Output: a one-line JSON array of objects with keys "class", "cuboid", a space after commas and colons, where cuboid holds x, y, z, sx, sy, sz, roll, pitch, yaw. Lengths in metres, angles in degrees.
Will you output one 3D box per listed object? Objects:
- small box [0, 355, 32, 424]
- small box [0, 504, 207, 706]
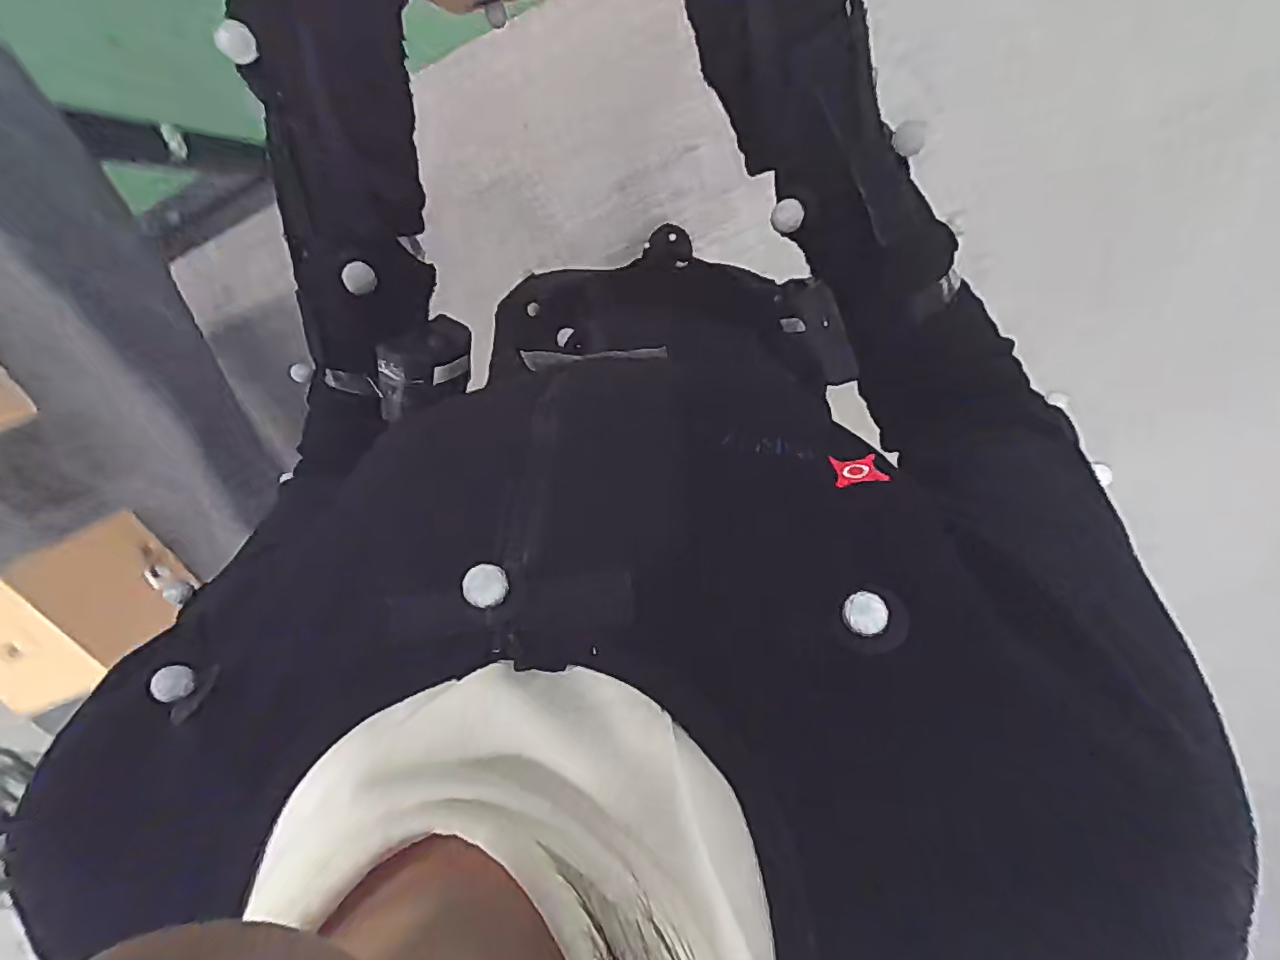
[{"class": "small box", "cuboid": [-0.872, -0.104, 0.601, 0.179, 0.176, 0.168, -18, 114, 11]}, {"class": "small box", "cuboid": [-0.749, 0.160, 0.723, 0.179, 0.176, 0.168, -23, 113, 12]}]
